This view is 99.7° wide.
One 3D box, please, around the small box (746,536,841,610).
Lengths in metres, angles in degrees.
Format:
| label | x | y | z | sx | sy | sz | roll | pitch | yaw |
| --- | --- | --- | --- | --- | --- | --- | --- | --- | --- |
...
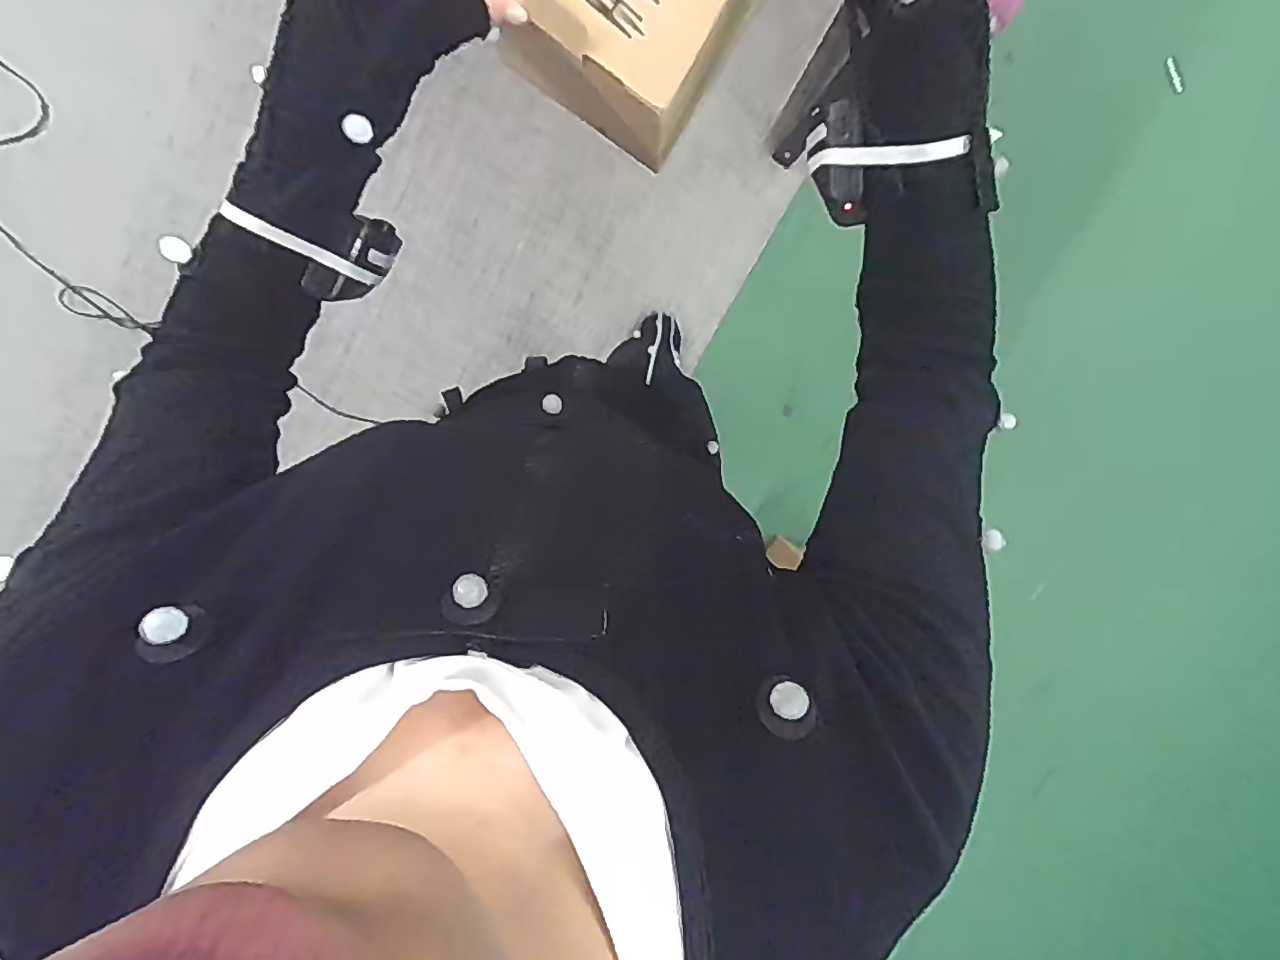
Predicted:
| label | x | y | z | sx | sy | sz | roll | pitch | yaw |
| --- | --- | --- | --- | --- | --- | --- | --- | --- | --- |
| small box | 0.412 | 0.285 | 1.496 | 0.168 | 0.176 | 0.179 | 31 | 99 | -10 |
